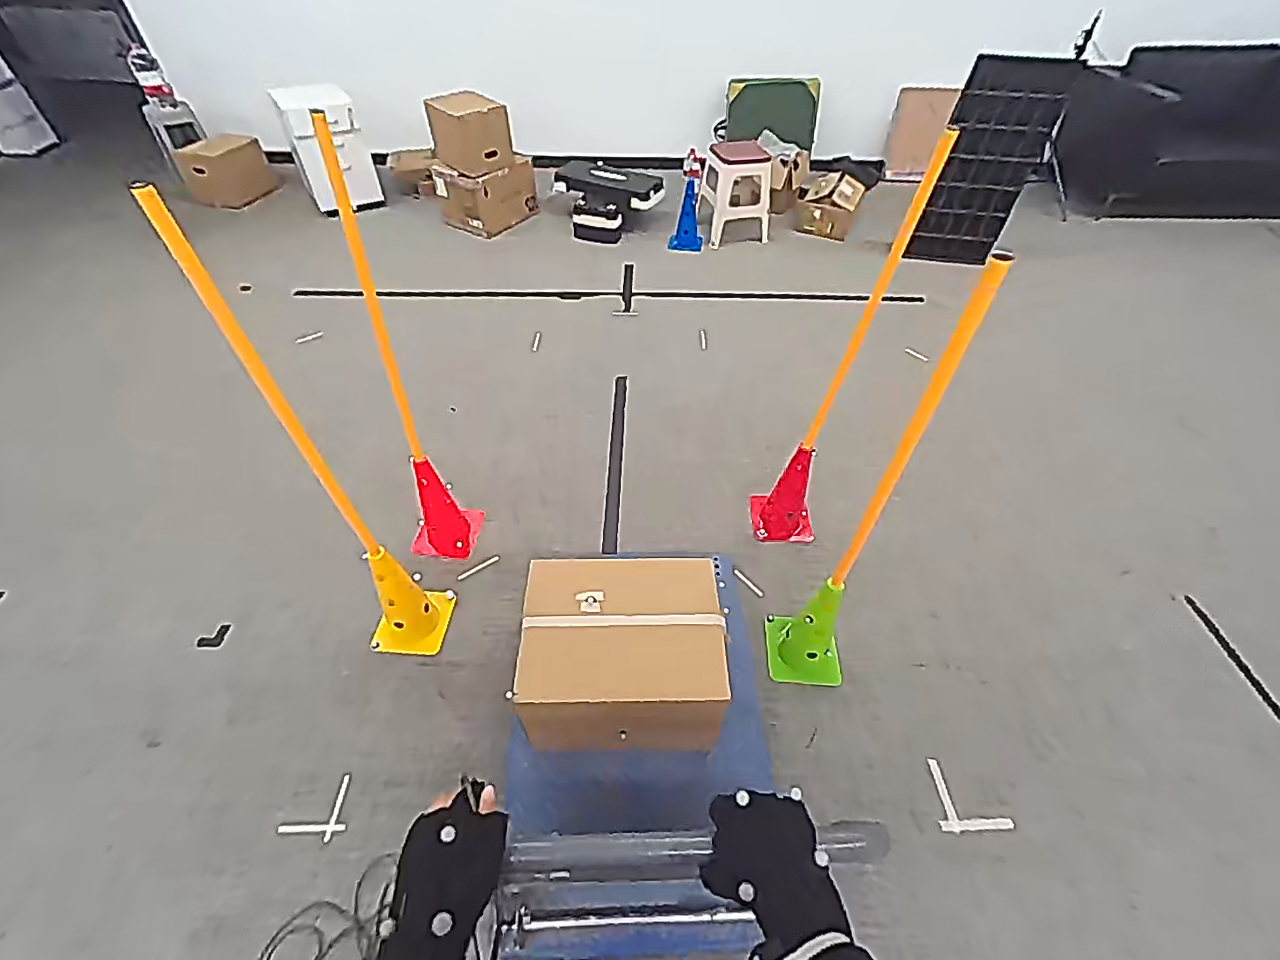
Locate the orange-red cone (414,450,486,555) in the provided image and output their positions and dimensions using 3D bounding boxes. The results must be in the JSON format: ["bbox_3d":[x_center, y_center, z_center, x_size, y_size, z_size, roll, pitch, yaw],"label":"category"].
[{"bbox_3d":[-0.632,0.045,1.698,0.198,0.360,0.199,8,47,4],"label":"orange-red cone"}]

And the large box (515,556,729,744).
[{"bbox_3d":[-0.035,0.386,1.209,0.408,0.320,0.320,0,48,-1],"label":"large box"}]

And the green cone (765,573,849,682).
[{"bbox_3d":[0.472,0.364,1.435,0.202,0.368,0.200,5,48,1],"label":"green cone"}]

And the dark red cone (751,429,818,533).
[{"bbox_3d":[0.500,-0.007,1.747,0.201,0.394,0.202,3,48,-2],"label":"dark red cone"}]
